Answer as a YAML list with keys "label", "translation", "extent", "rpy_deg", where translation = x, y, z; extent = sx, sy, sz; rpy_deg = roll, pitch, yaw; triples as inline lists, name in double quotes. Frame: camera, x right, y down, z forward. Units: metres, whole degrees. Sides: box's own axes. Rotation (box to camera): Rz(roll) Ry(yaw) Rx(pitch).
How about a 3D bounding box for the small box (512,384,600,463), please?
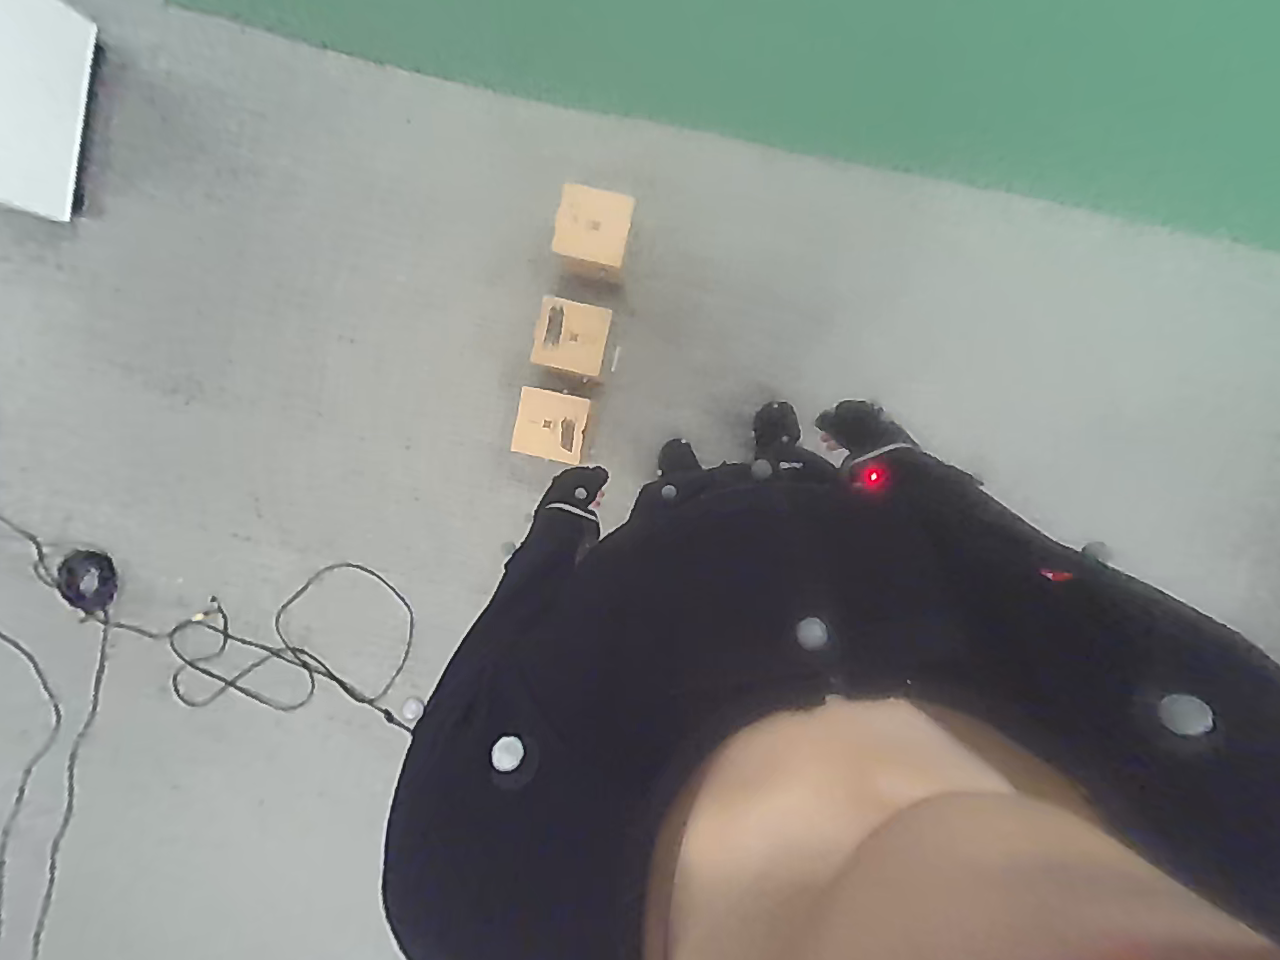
- label: "small box"
  translation: [-0.208, -0.147, 1.394]
  extent: [0.179, 0.176, 0.168]
  rpy_deg: [12, 96, 3]

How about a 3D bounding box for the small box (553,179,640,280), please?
- label: "small box"
  translation: [-0.102, -0.613, 1.348]
  extent: [0.179, 0.176, 0.168]
  rpy_deg: [13, 95, 2]
